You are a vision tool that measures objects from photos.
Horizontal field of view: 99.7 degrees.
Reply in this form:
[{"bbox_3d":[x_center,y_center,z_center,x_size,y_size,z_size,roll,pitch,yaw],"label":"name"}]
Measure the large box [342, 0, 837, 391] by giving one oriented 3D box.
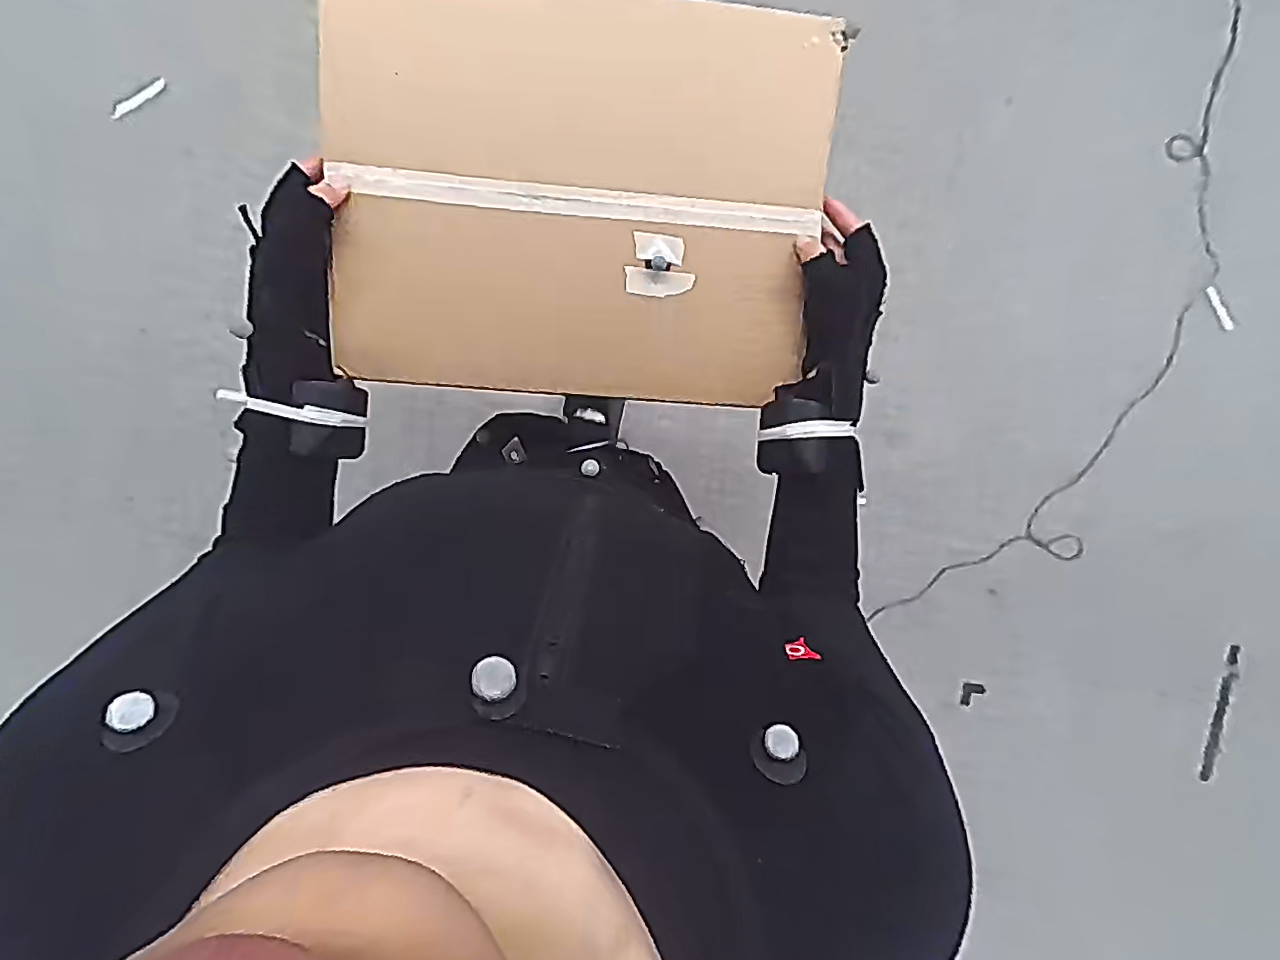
[{"bbox_3d":[-0.055,-0.269,0.603,0.408,0.320,0.320,3,102,-6],"label":"large box"}]
